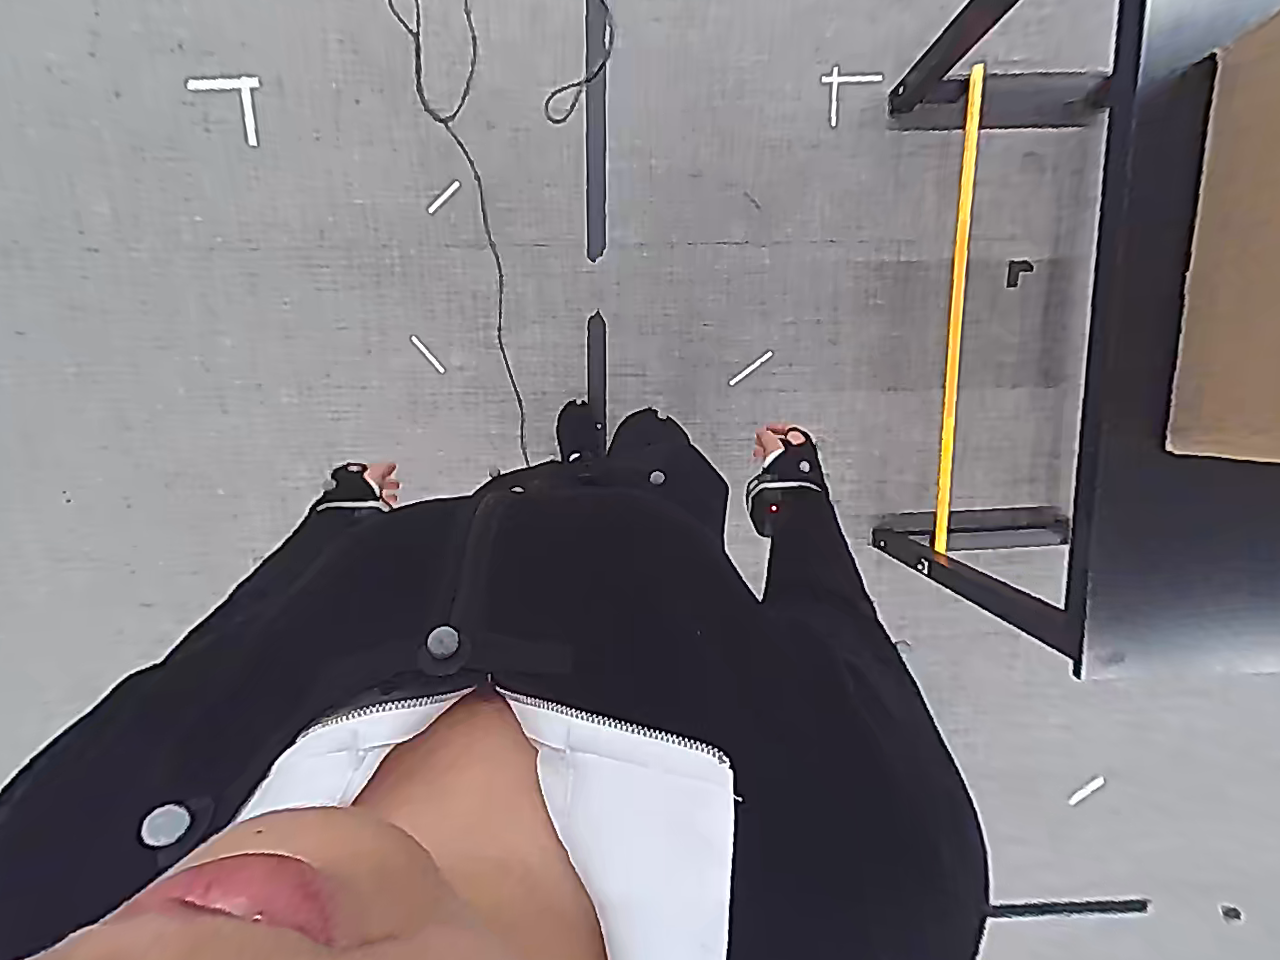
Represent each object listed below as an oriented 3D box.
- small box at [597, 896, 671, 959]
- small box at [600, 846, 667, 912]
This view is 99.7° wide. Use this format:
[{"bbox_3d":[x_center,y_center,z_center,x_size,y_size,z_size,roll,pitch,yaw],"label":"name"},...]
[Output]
[{"bbox_3d":[-0.017,1.108,1.241,0.168,0.176,0.179,3,97,-3],"label":"small box"},{"bbox_3d":[-0.021,1.099,1.404,0.168,0.176,0.179,3,98,-2],"label":"small box"}]
